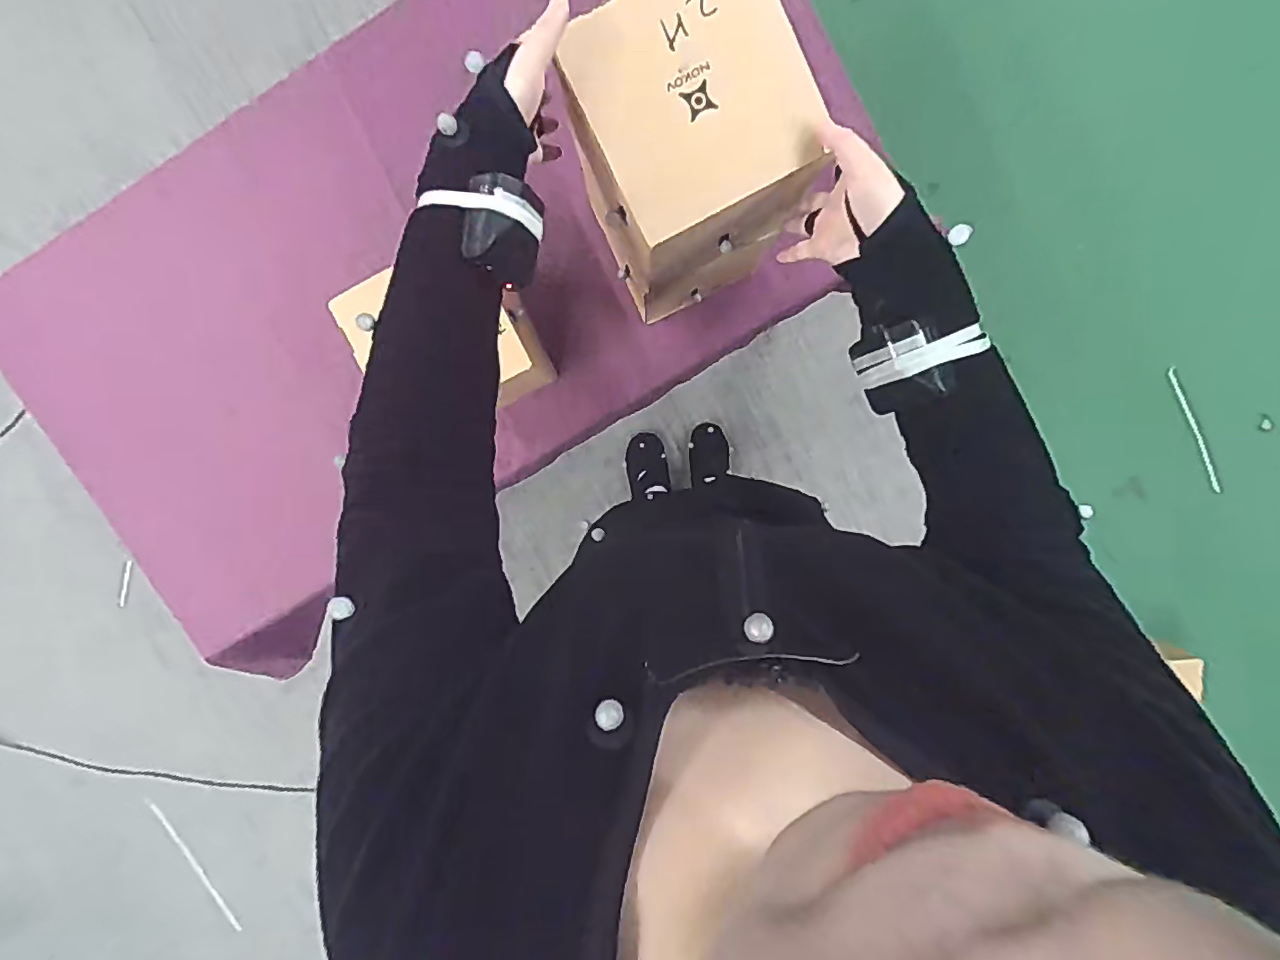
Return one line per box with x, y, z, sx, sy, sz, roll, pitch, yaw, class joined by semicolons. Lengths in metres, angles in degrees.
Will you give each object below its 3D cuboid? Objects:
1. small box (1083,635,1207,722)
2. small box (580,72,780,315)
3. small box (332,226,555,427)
1.347;0.525;1.450;0.179;0.176;0.168;-3;96;1;small box
0.043;-0.325;0.654;0.168;0.176;0.179;-25;96;4;small box
-0.228;-0.174;0.676;0.179;0.176;0.168;-26;95;4;small box
